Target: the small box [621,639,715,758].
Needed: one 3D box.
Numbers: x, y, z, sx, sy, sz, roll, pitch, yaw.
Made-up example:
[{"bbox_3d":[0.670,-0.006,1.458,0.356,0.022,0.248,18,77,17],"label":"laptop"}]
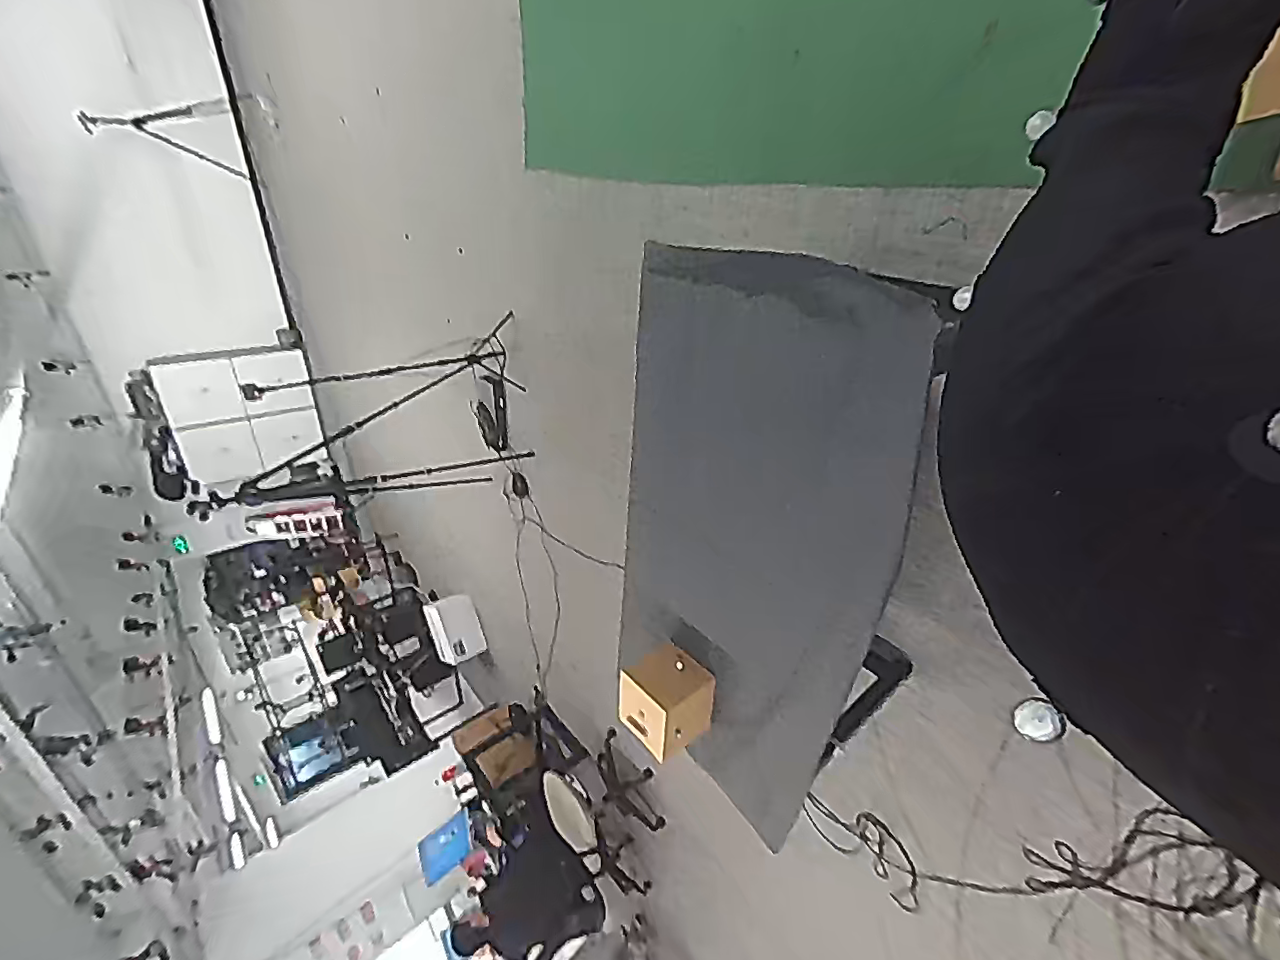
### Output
[{"bbox_3d":[0.069,0.537,1.348,0.168,0.176,0.179,29,127,42],"label":"small box"}]
